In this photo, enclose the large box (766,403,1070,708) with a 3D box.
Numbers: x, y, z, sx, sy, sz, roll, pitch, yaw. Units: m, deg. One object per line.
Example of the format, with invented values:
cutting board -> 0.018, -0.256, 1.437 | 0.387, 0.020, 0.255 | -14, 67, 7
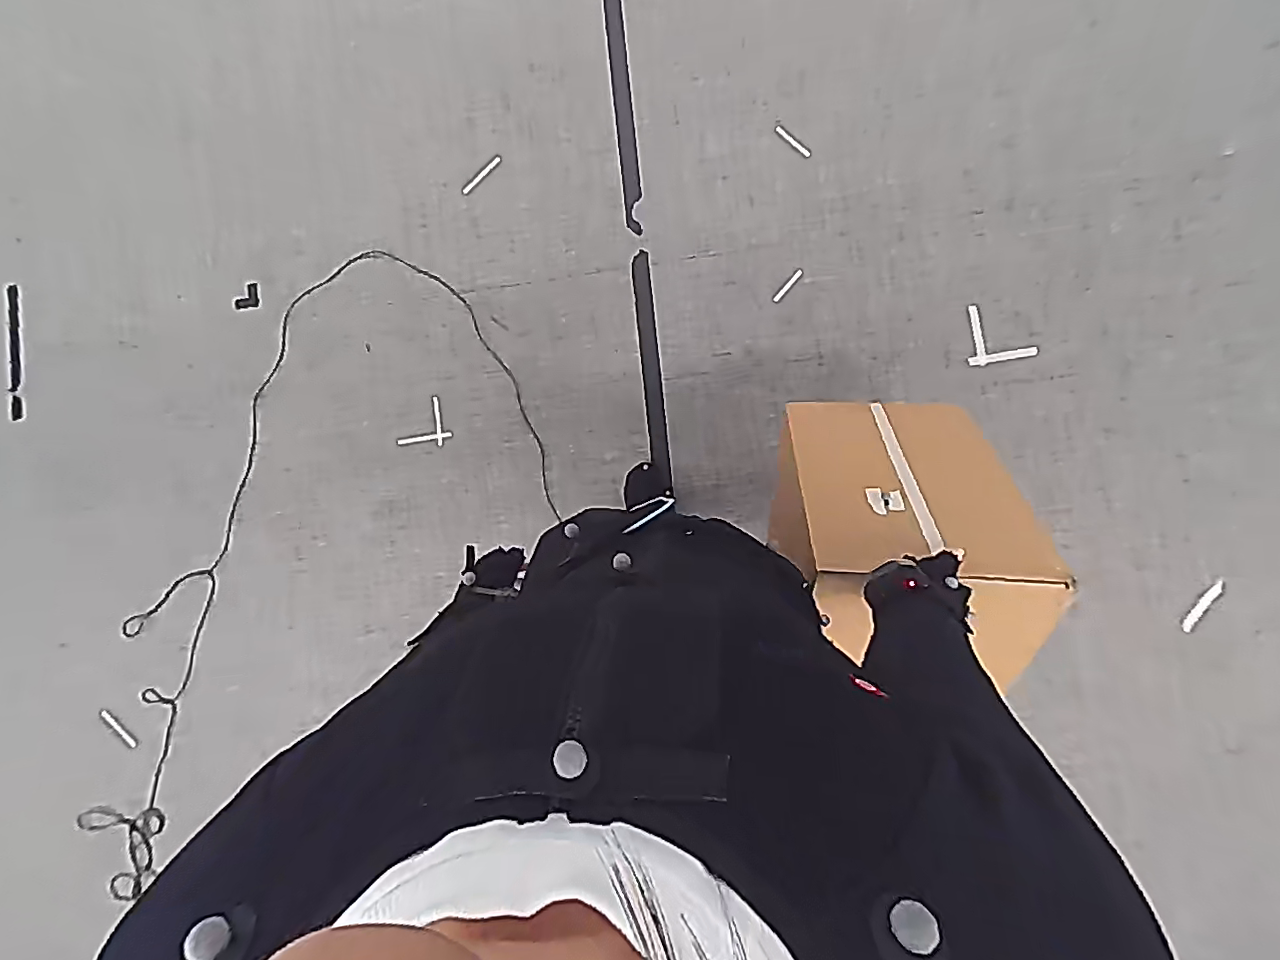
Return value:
large box -> 0.396, 0.110, 0.911 | 0.320, 0.408, 0.320 | 1, 131, 8
